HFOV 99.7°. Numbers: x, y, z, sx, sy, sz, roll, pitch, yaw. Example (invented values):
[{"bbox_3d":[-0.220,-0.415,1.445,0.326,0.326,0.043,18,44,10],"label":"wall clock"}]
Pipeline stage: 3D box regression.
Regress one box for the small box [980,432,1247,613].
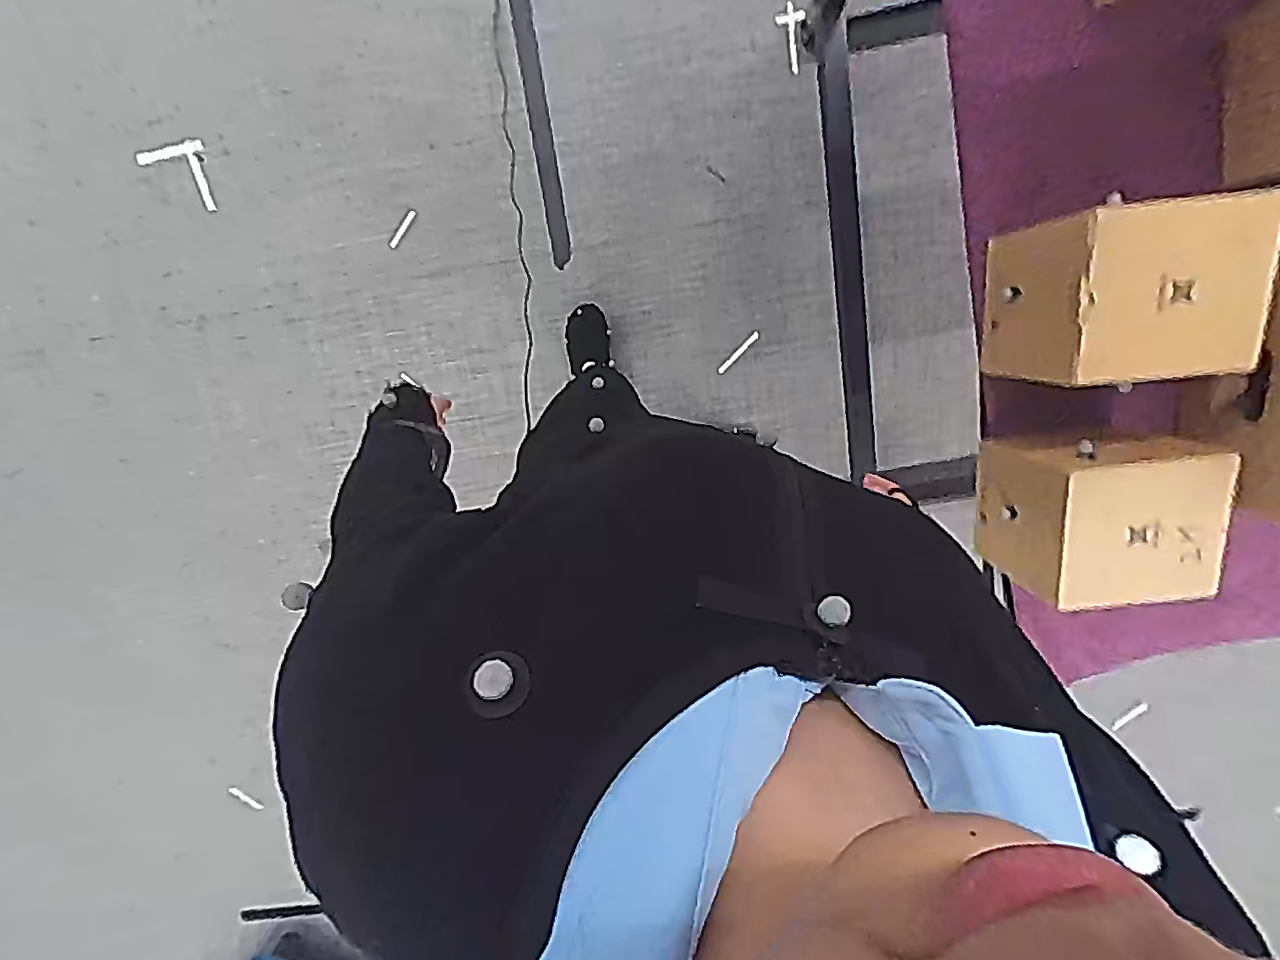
[{"bbox_3d":[0.547,0.042,0.655,0.179,0.176,0.168,-6,106,2],"label":"small box"}]
